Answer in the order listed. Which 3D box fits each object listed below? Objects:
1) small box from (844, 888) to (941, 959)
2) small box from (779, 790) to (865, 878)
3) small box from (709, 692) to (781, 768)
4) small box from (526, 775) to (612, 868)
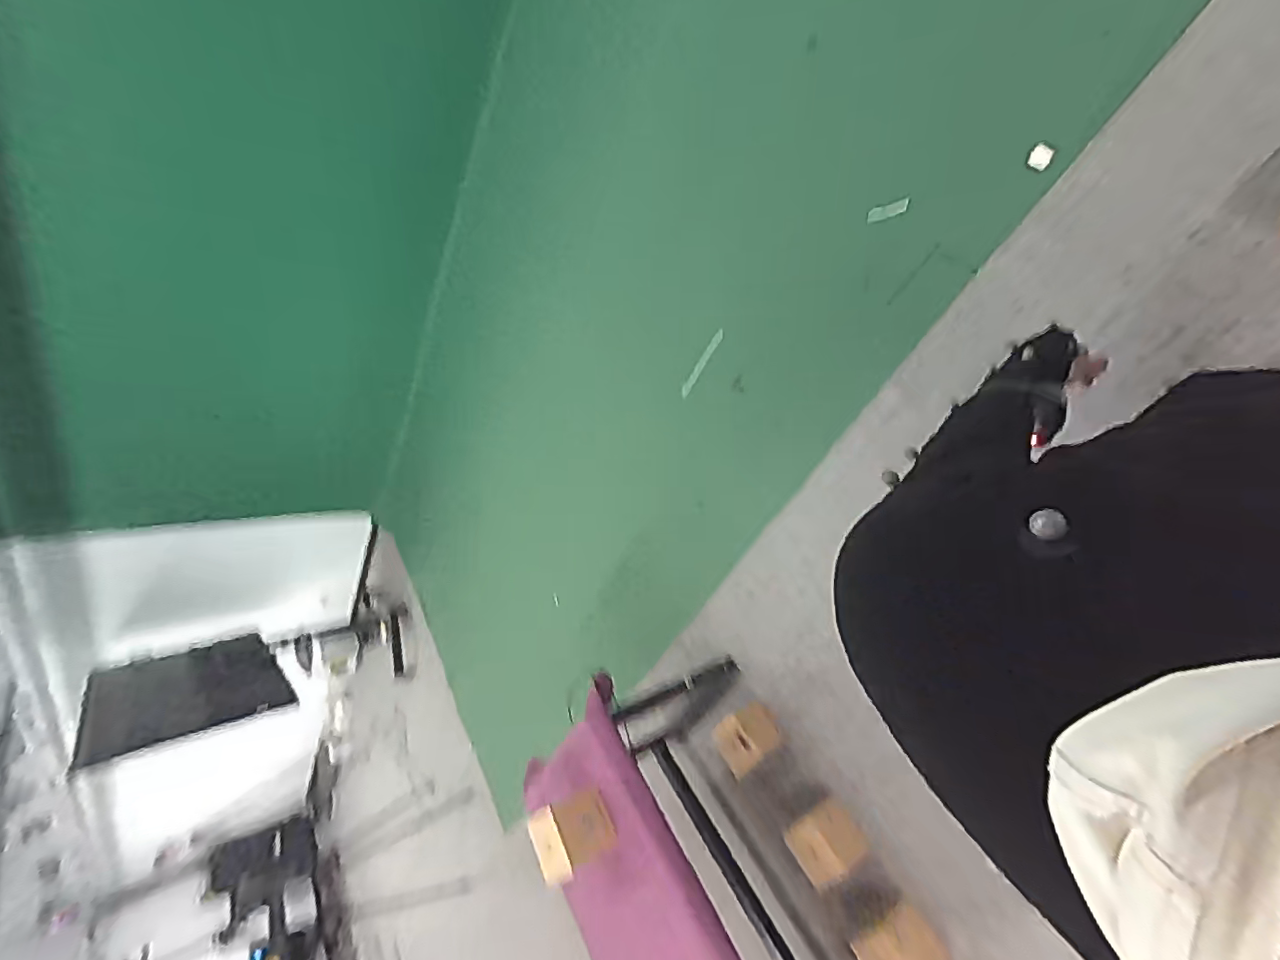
[{"bbox_3d":[0.772,1.401,1.645,0.179,0.176,0.168,52,128,31],"label":"small box"},{"bbox_3d":[0.608,1.169,1.804,0.179,0.176,0.168,53,129,30],"label":"small box"},{"bbox_3d":[0.398,0.925,2.012,0.168,0.176,0.179,50,128,33],"label":"small box"},{"bbox_3d":[-0.206,1.007,1.602,0.179,0.176,0.168,-49,59,38],"label":"small box"}]
